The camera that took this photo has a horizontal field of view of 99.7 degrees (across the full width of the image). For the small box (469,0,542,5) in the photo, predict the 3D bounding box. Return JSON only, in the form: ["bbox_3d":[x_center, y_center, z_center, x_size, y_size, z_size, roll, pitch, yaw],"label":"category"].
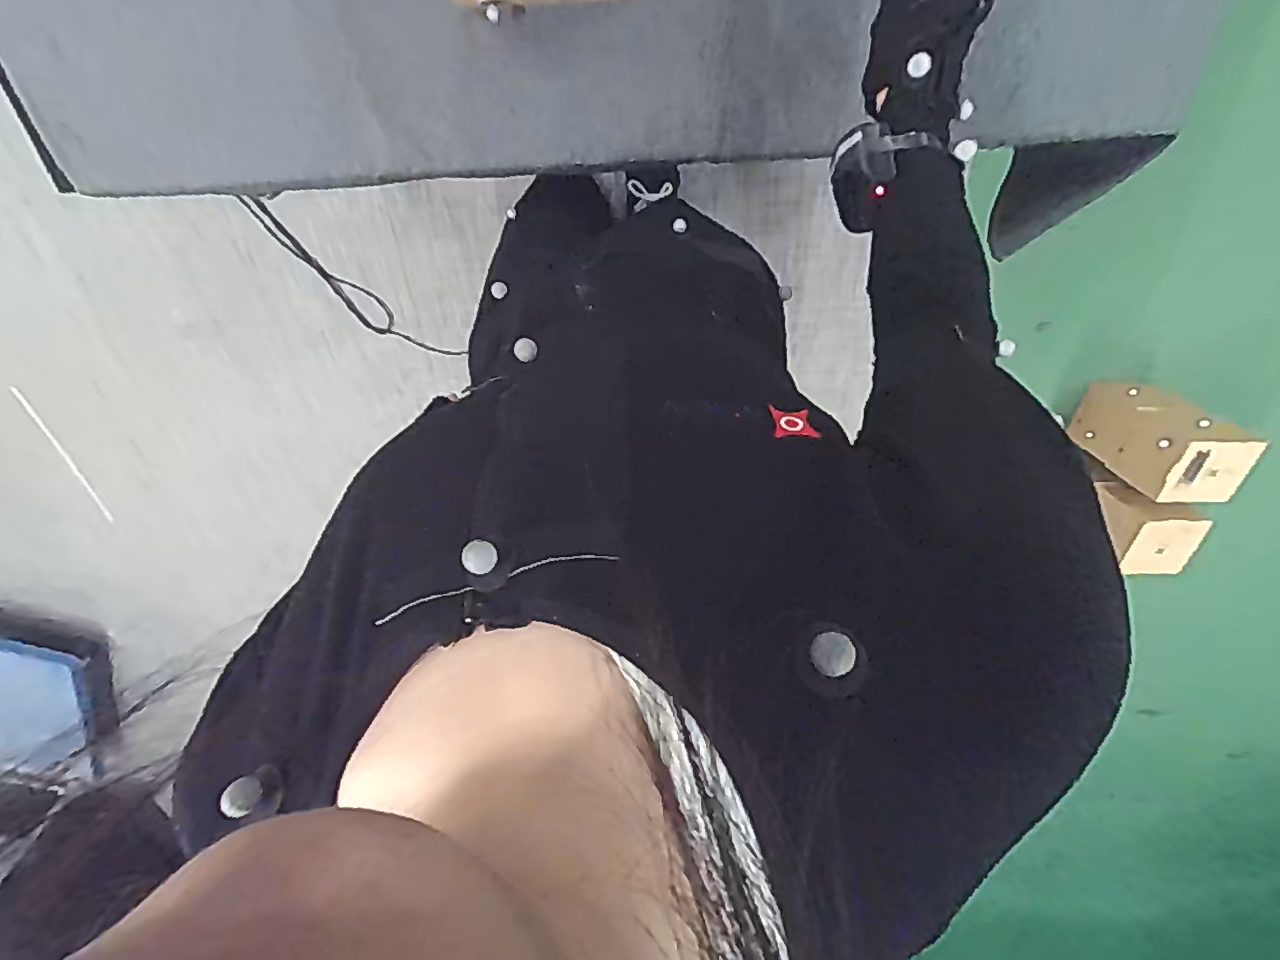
[{"bbox_3d":[-0.093,-0.484,0.404,0.168,0.176,0.179,-3,121,2],"label":"small box"}]
